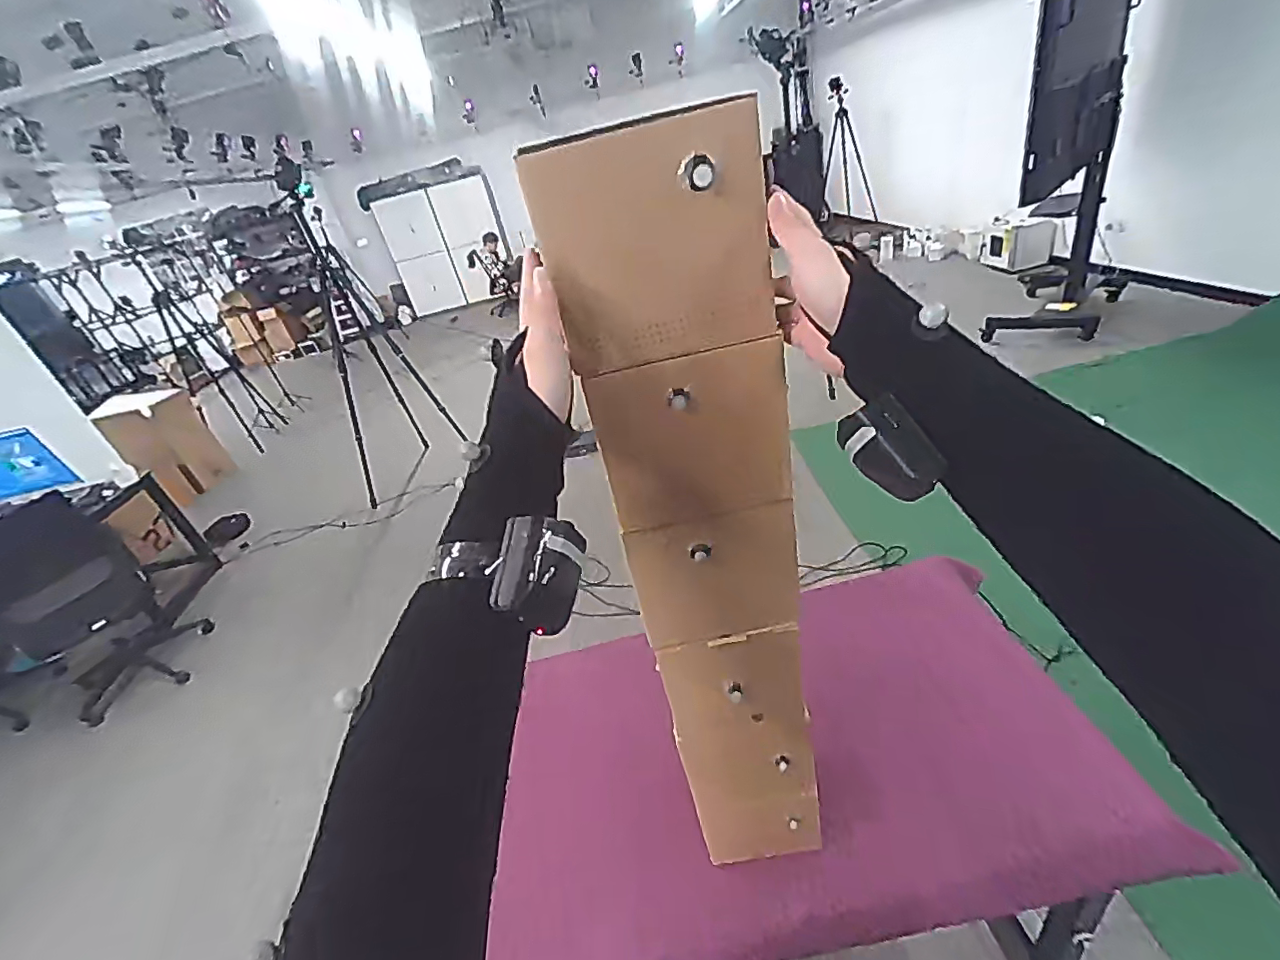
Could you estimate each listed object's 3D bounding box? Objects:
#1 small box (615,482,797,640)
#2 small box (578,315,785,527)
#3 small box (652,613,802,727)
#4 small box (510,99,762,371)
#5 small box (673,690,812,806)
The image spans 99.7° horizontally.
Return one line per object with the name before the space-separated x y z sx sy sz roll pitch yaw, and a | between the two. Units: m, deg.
small box | 0.074 0.065 0.639 0.179 0.176 0.168 -12 30 3
small box | 0.045 -0.074 0.560 0.179 0.176 0.168 -13 30 4
small box | 0.109 0.204 0.718 0.168 0.176 0.179 -11 30 5
small box | 0.006 -0.215 0.484 0.179 0.176 0.168 -12 30 4
small box | 0.145 0.344 0.794 0.179 0.176 0.168 -12 30 5
